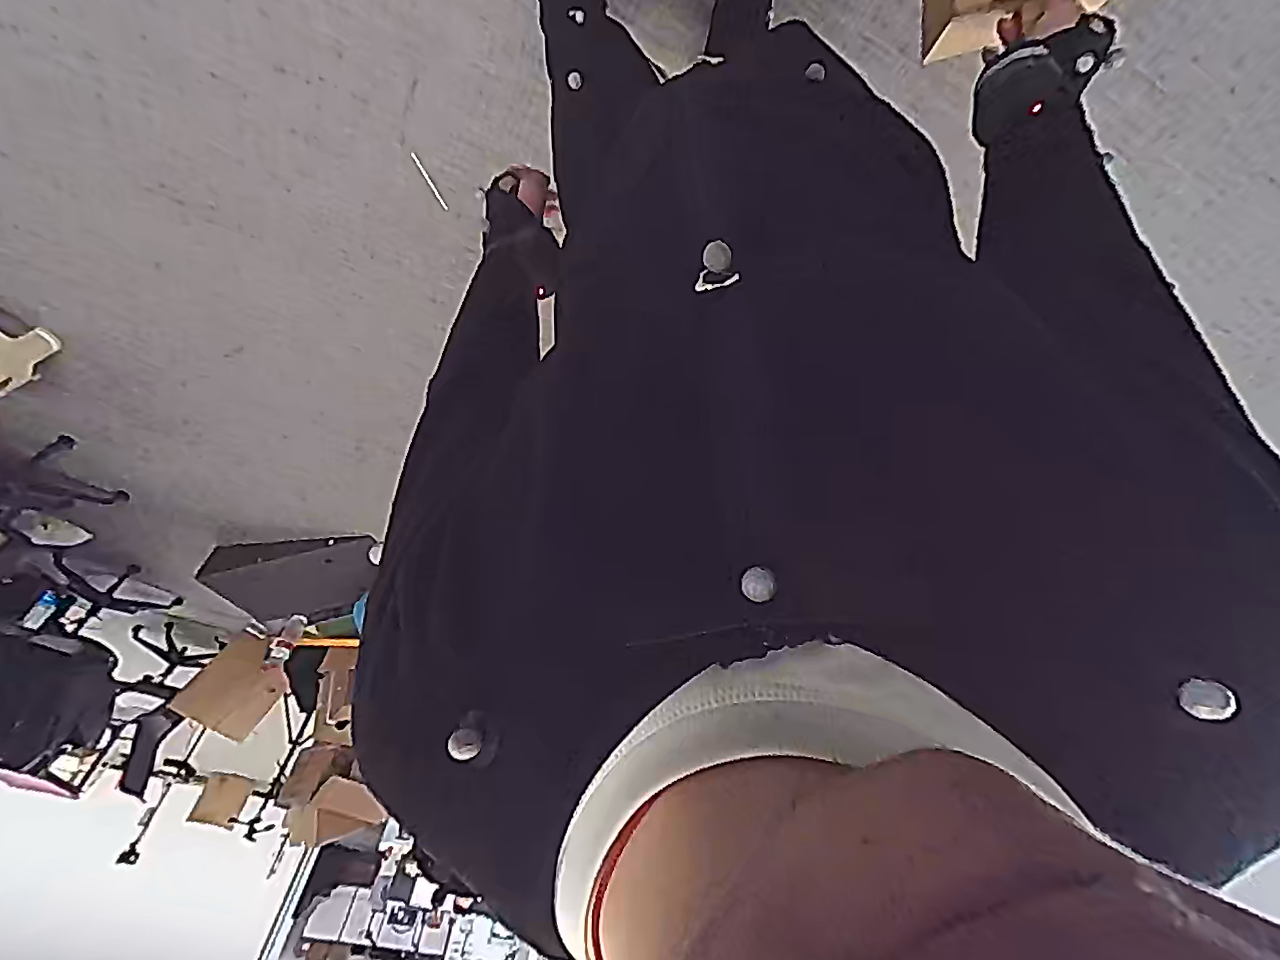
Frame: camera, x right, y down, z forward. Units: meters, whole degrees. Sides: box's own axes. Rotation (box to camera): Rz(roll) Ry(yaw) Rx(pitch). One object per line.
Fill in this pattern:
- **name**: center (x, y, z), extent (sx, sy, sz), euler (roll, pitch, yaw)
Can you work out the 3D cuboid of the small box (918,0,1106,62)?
- **small box**: center (0.387, -0.556, 0.544), extent (0.168, 0.176, 0.179), euler (-3, 111, 17)
